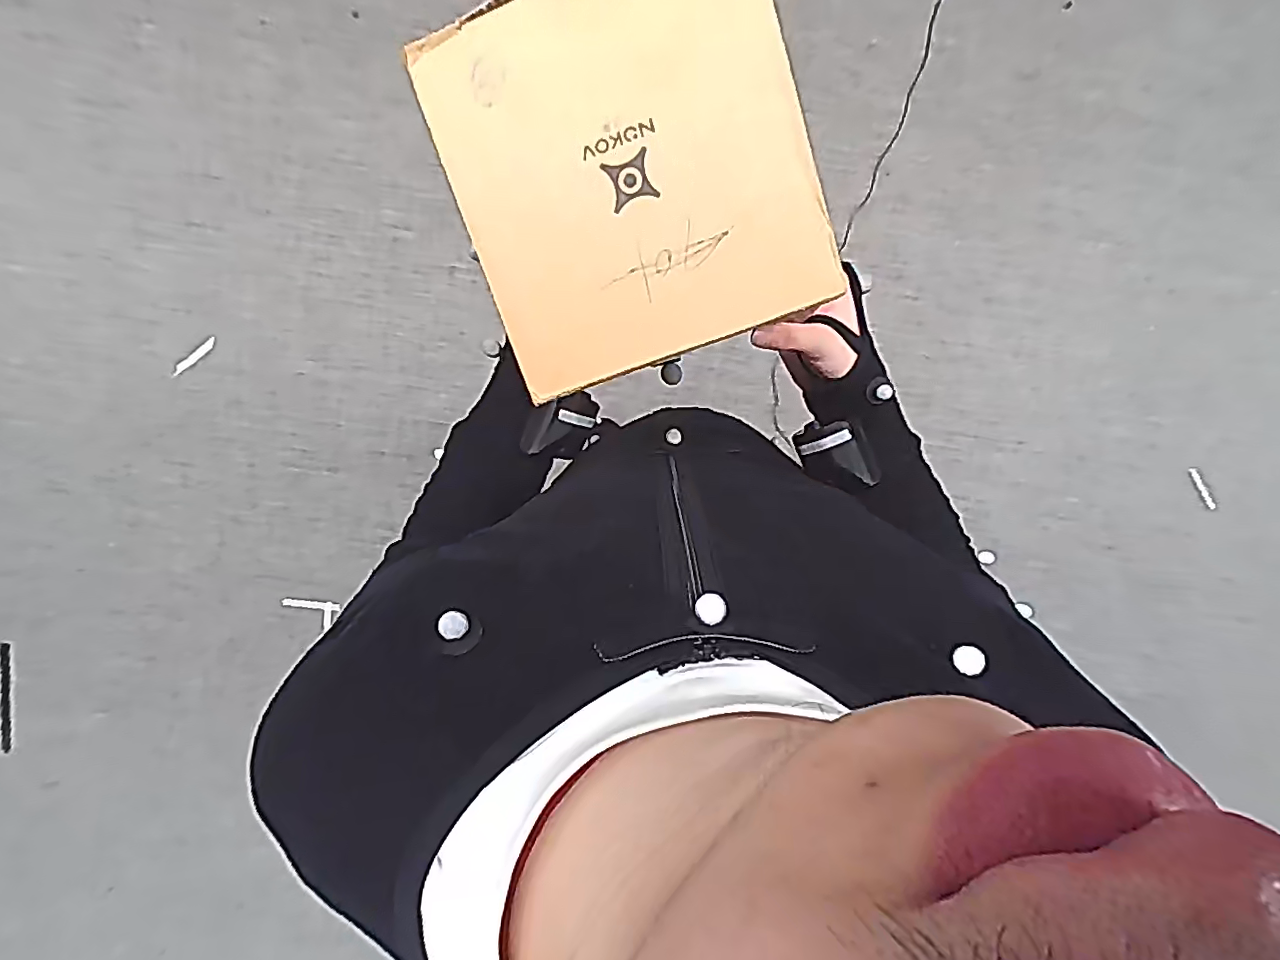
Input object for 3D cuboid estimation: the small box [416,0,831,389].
[{"bbox_3d":[-0.002,-0.168,0.344,0.168,0.176,0.179,-18,101,8],"label":"small box"}]
